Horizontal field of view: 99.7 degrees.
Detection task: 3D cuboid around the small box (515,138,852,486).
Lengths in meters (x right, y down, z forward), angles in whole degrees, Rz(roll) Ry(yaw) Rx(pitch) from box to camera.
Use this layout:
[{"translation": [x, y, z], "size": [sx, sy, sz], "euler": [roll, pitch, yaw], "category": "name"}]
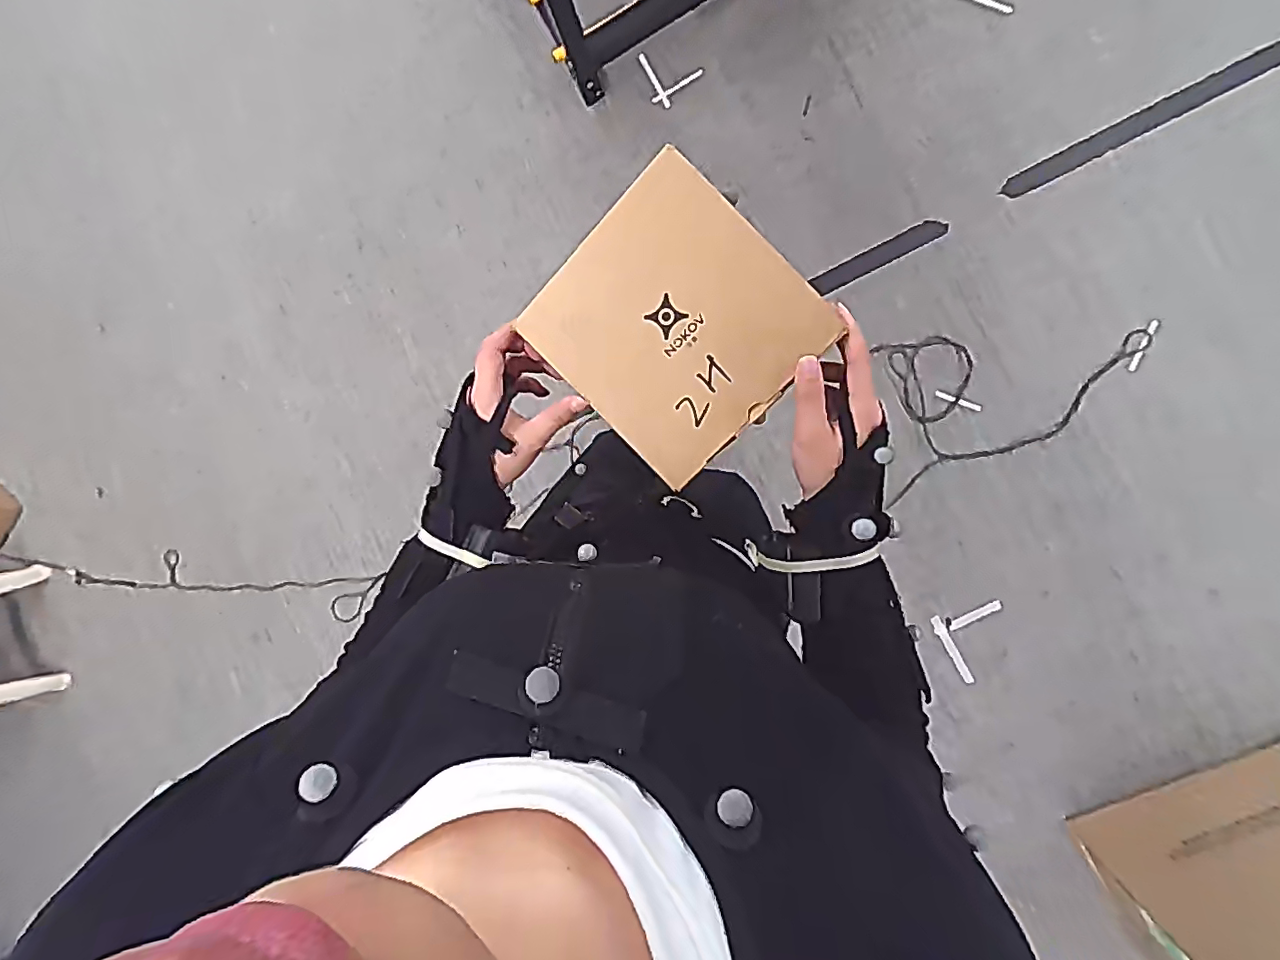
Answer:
[{"translation": [0.036, -0.122, 0.446], "size": [0.168, 0.176, 0.179], "euler": [-44, 92, 14], "category": "small box"}]
